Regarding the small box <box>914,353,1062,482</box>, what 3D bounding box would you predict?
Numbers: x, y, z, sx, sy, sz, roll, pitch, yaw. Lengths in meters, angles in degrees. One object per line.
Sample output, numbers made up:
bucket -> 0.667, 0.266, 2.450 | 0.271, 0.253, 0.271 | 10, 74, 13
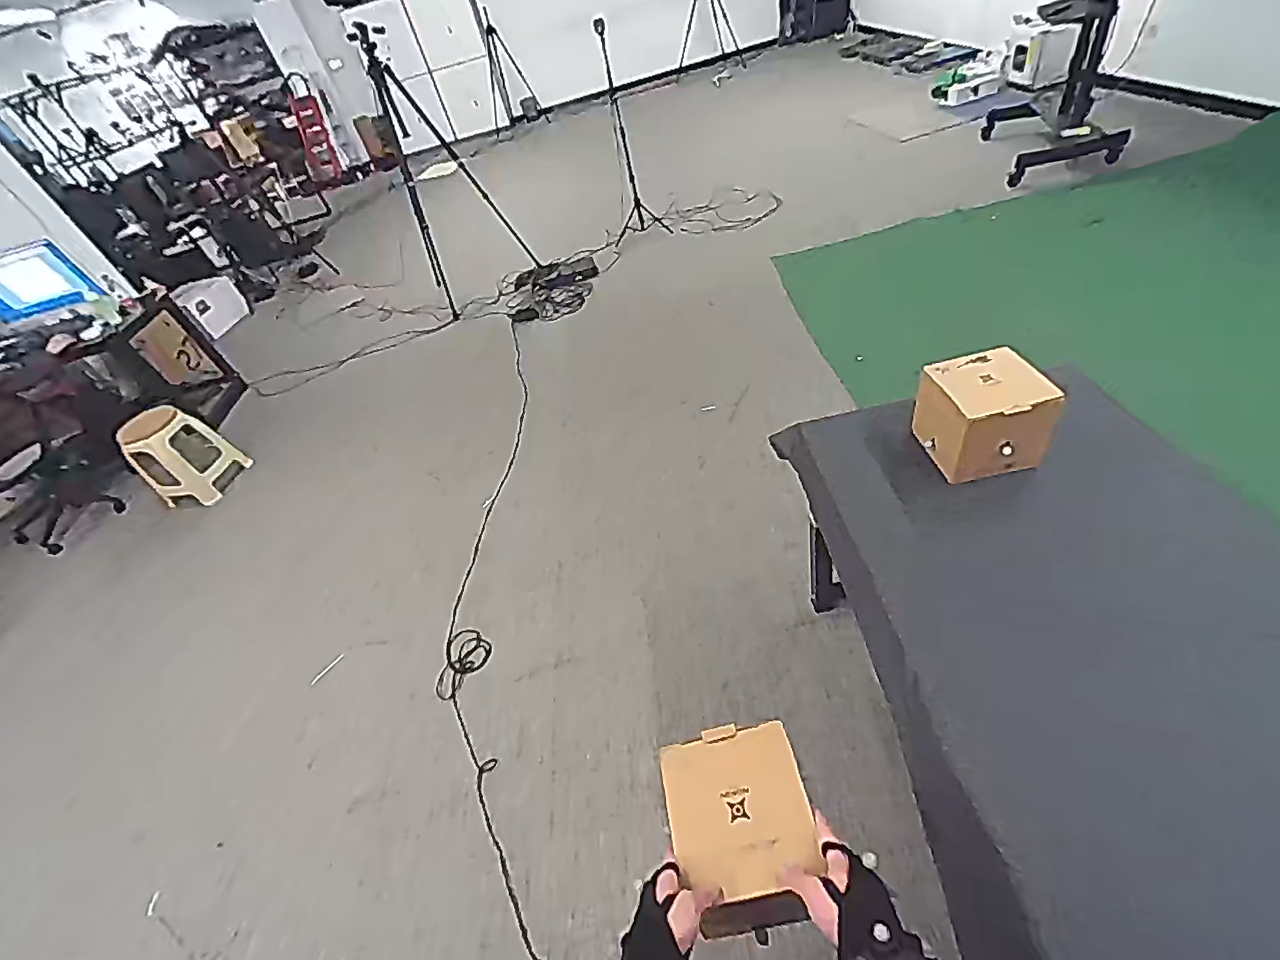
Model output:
small box -> 0.657, -0.113, 1.047 | 0.168, 0.176, 0.179 | -13, 45, 5

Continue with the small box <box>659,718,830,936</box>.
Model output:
small box -> 0.127, 0.430, 0.673 | 0.168, 0.176, 0.179 | -14, 40, 6
